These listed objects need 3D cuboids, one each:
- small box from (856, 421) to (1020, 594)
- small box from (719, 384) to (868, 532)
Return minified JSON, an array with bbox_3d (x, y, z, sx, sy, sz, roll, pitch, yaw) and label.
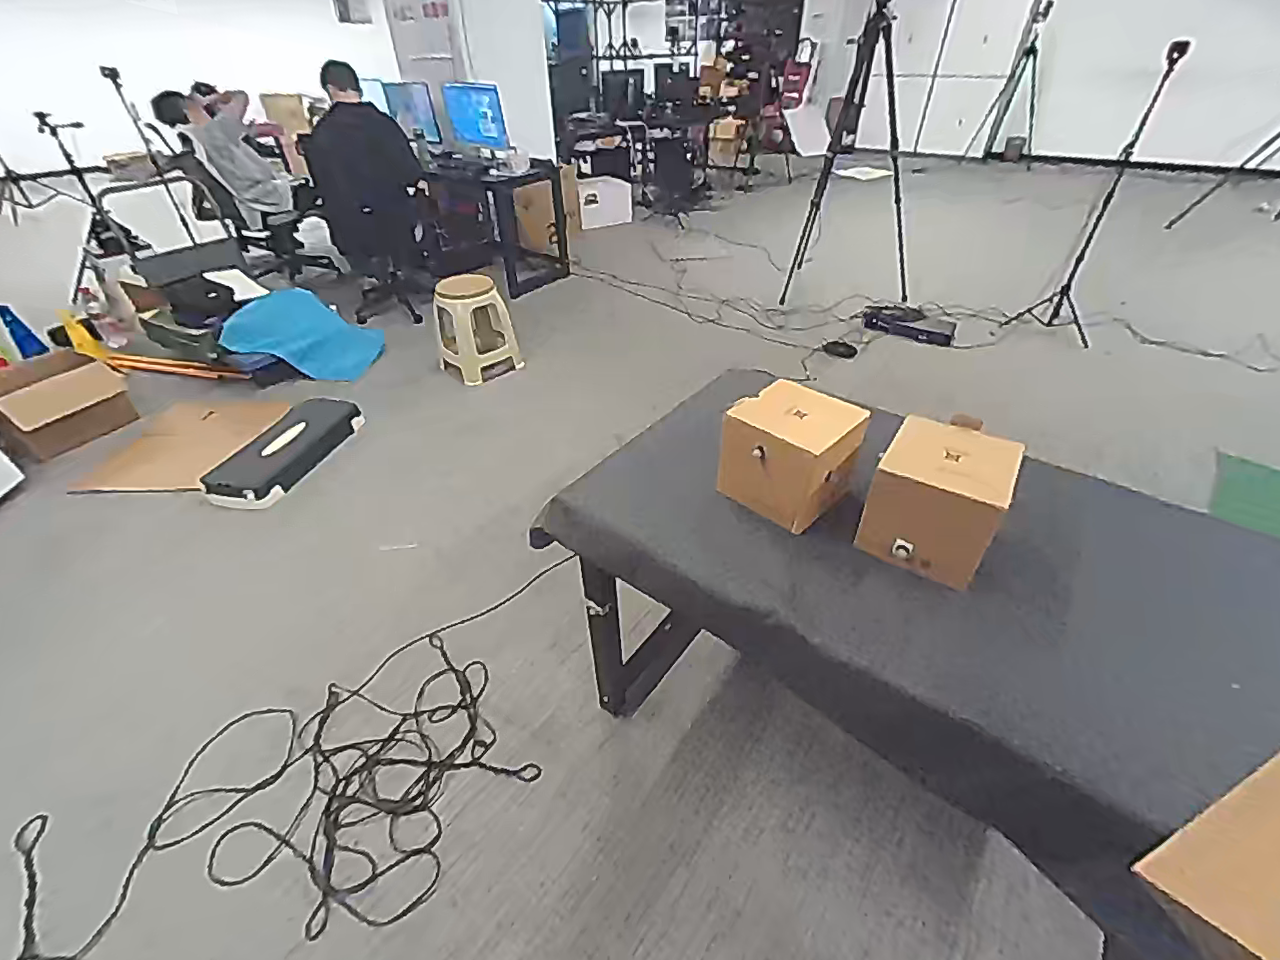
[{"bbox_3d":[0.450,0.038,0.829,0.168,0.176,0.179,21,43,28],"label":"small box"},{"bbox_3d":[0.254,-0.035,0.926,0.168,0.176,0.179,-31,47,-33],"label":"small box"}]
